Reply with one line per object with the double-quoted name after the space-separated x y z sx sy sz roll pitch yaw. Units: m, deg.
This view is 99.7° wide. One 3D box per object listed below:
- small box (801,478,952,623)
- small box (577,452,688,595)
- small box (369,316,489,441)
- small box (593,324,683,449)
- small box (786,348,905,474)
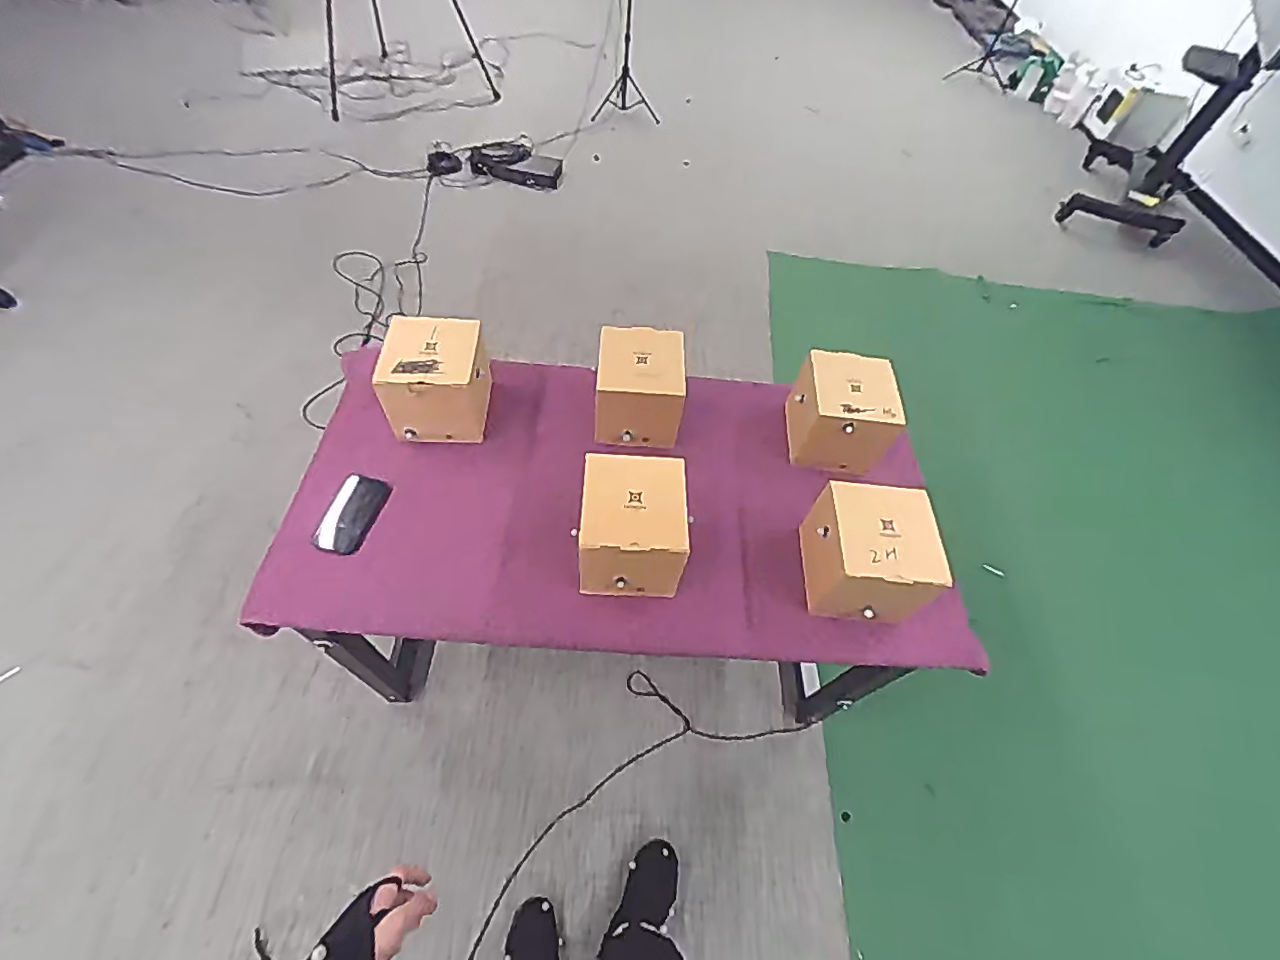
0.380 0.121 0.908 0.168 0.176 0.179 6 55 0 "small box"
-0.018 0.075 0.903 0.168 0.176 0.179 3 55 -4 "small box"
-0.393 -0.192 1.045 0.168 0.176 0.179 1 55 -6 "small box"
-0.007 -0.186 1.084 0.168 0.176 0.179 3 56 -3 "small box"
0.402 -0.137 1.092 0.168 0.176 0.179 6 55 -1 "small box"
